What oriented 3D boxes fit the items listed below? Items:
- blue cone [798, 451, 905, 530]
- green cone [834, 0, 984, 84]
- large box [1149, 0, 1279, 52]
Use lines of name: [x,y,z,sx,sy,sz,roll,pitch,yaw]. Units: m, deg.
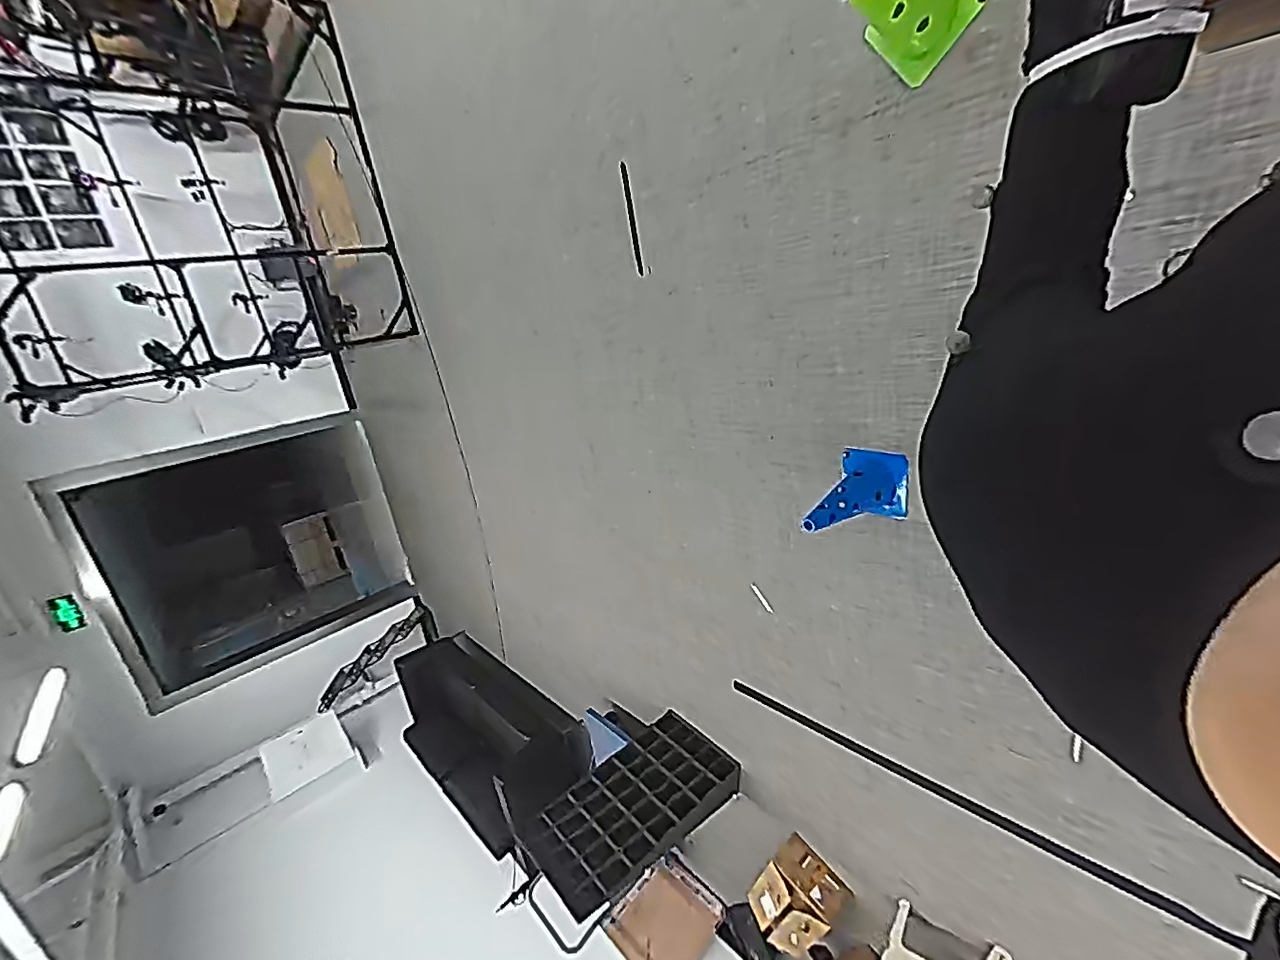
blue cone: [0.584,0.061,1.545,0.192,0.380,0.193,16,120,48]
green cone: [0.491,-0.968,1.083,0.200,0.368,0.202,58,144,13]
large box: [0.537,-0.471,0.243,0.408,0.320,0.320,12,122,47]
